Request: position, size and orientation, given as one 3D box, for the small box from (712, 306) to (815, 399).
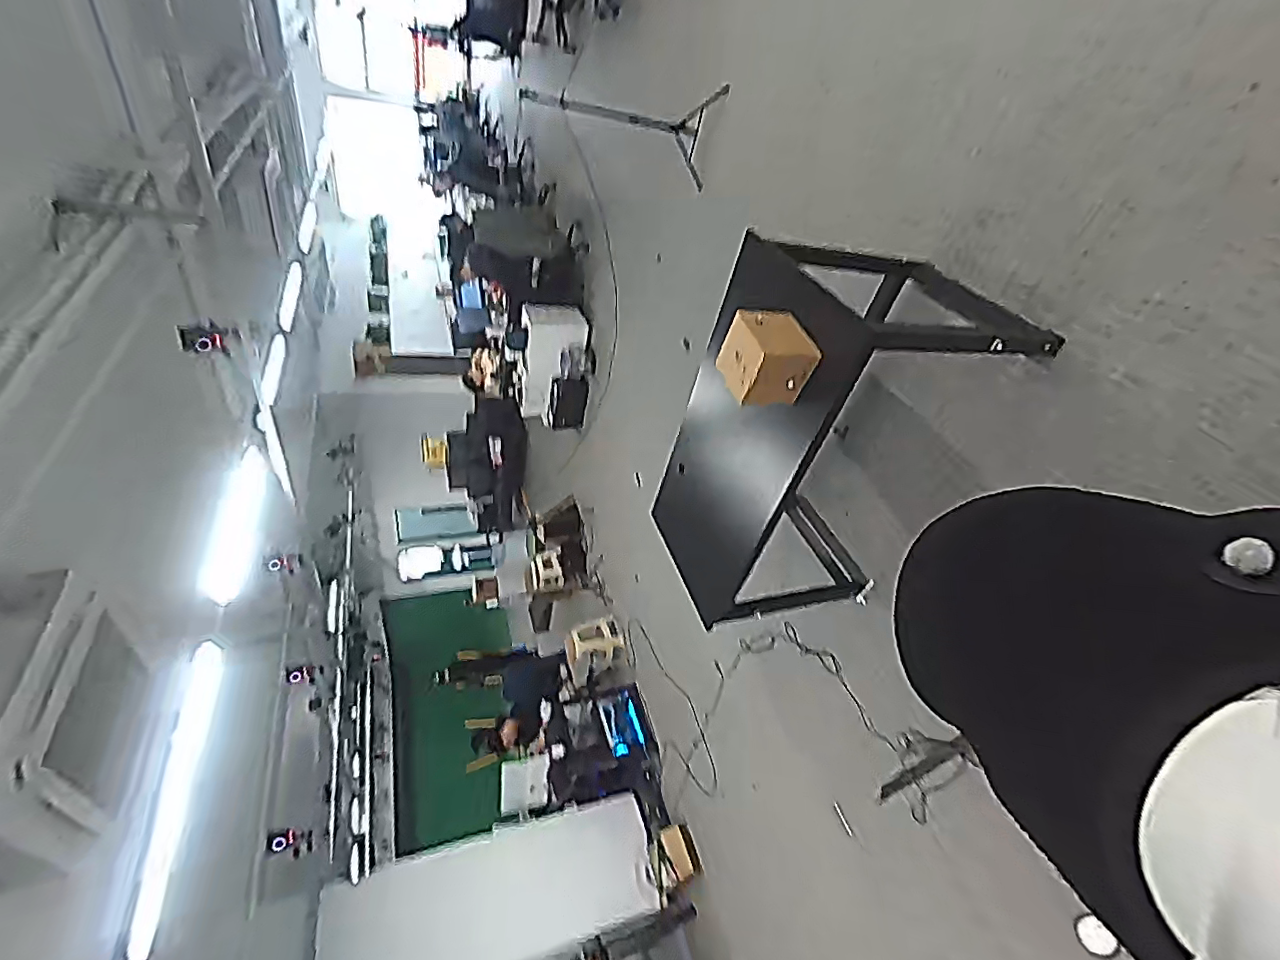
[{"bbox_3d":[0.314,-0.324,1.393,0.168,0.176,0.179,111,147,-48],"label":"small box"}]
